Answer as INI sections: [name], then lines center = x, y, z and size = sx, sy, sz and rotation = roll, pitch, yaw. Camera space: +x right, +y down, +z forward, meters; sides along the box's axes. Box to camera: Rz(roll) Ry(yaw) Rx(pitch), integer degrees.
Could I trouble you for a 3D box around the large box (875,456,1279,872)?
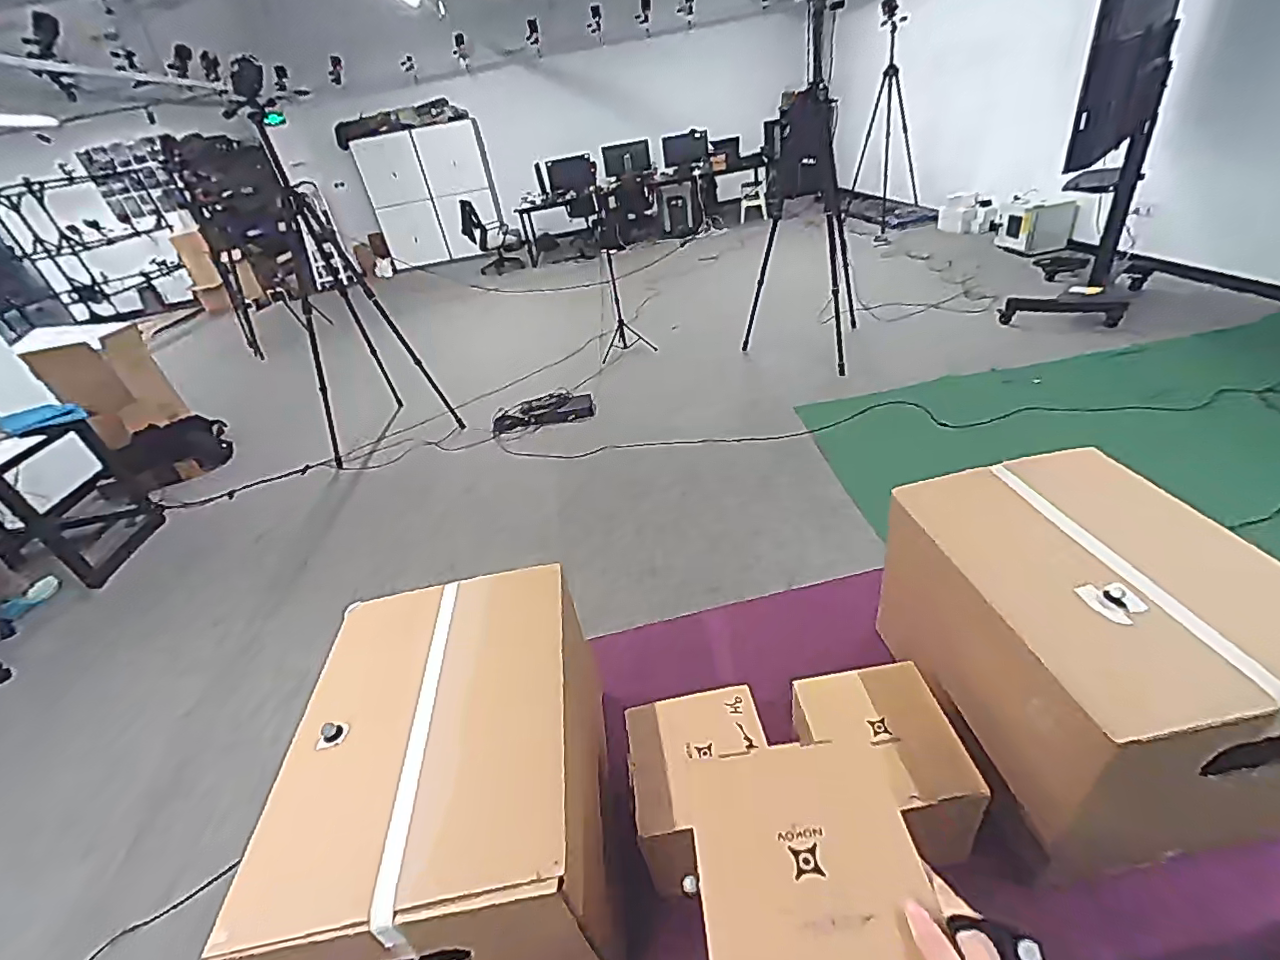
[large box]
center = 0.573, 0.220, 0.732
size = 0.320, 0.320, 0.408
rotation = -11, 35, 0
